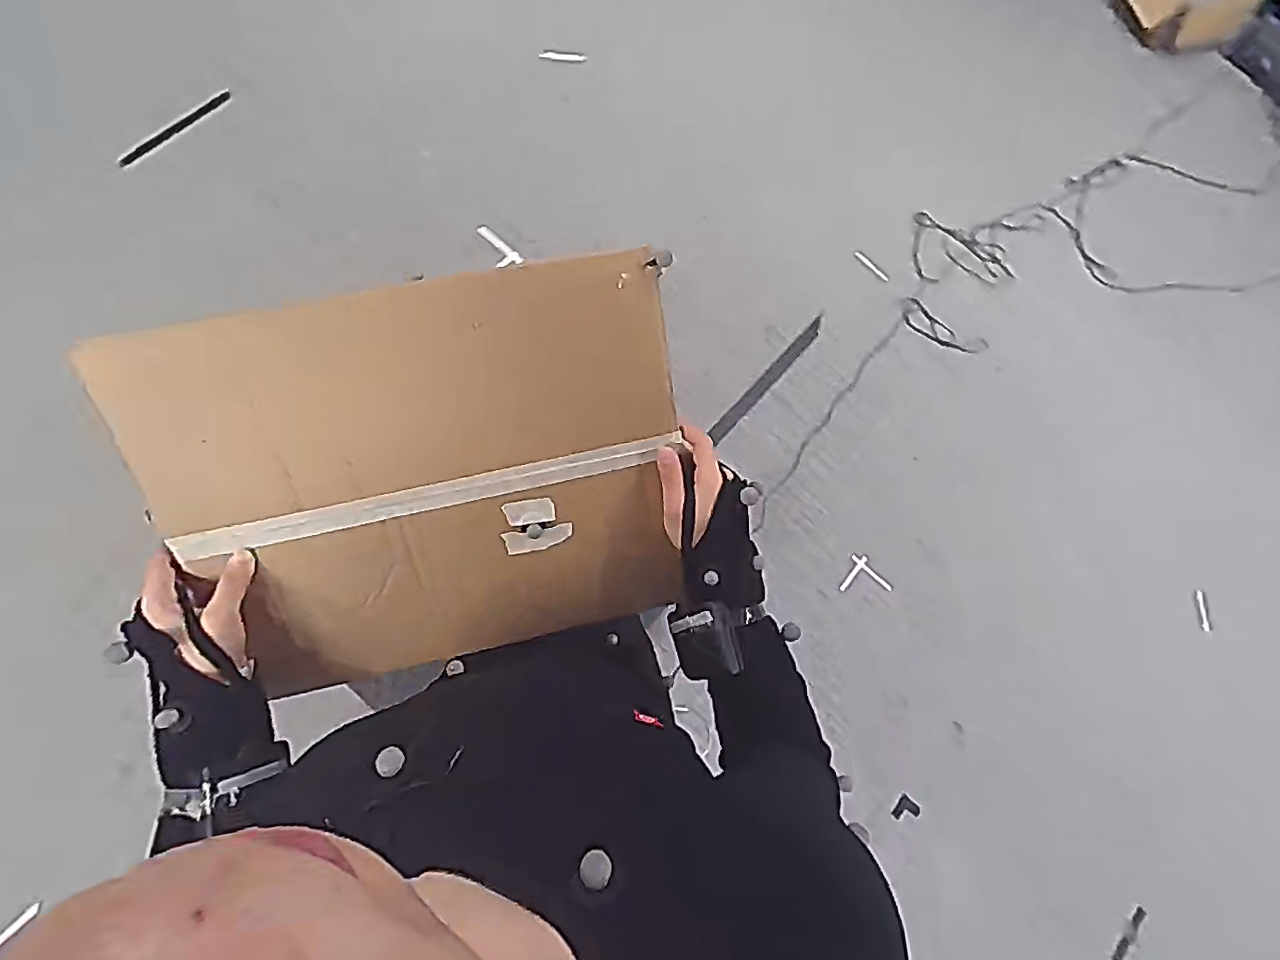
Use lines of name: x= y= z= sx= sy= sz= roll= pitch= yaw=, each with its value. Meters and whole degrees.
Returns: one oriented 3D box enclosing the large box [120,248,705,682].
large box: x=-0.180 y=-0.049 z=0.590 sx=0.408 sy=0.320 sz=0.320 roll=-12 pitch=113 yaw=-7
